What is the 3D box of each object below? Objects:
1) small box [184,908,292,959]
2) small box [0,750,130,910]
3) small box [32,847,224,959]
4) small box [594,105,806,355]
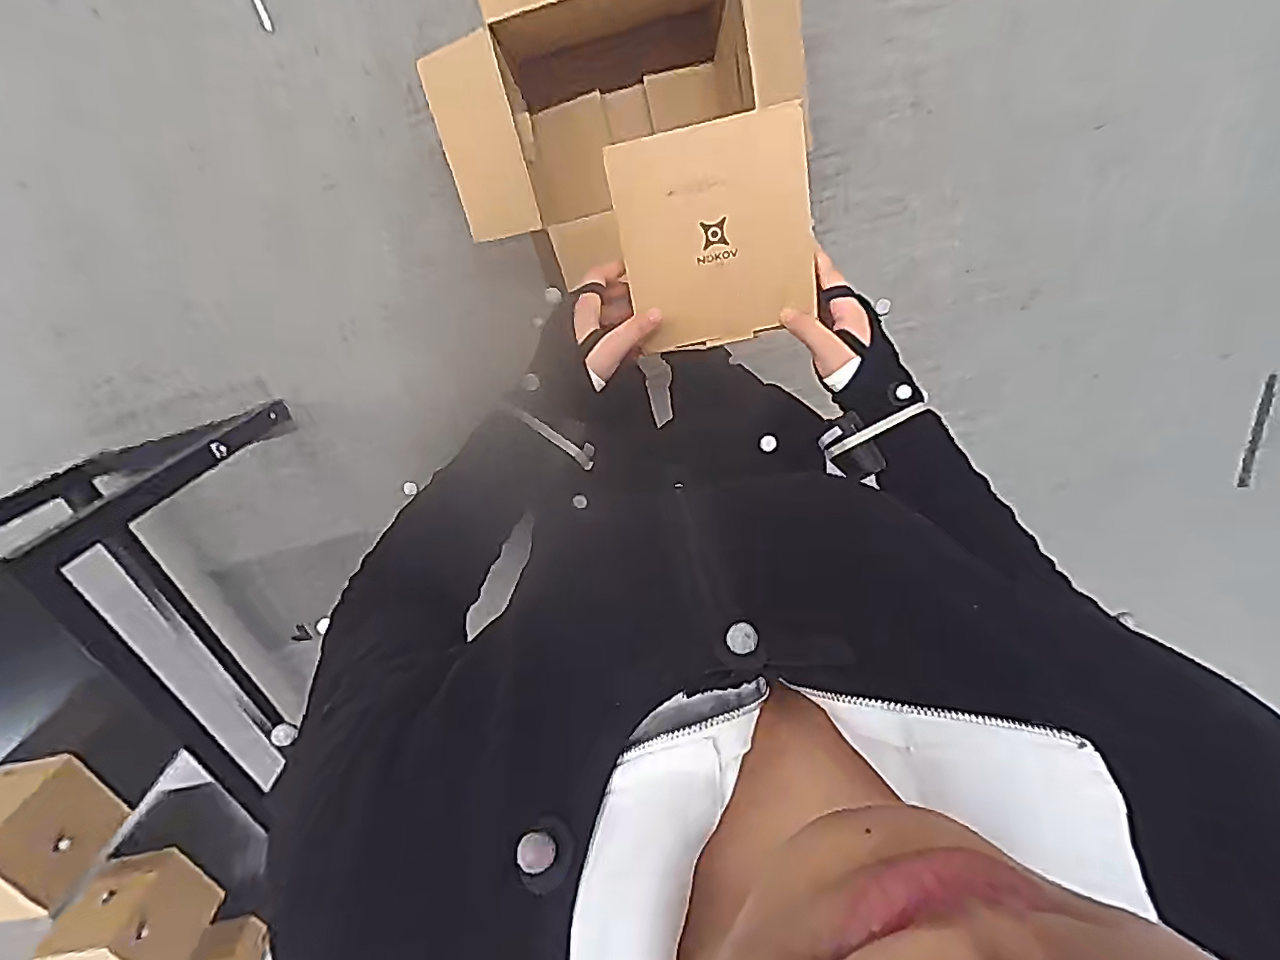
[{"bbox_3d":[-0.916,1.079,1.180,0.179,0.176,0.168,-15,117,5],"label":"small box"},{"bbox_3d":[-1.055,0.599,0.927,0.168,0.176,0.179,-12,118,4],"label":"small box"},{"bbox_3d":[-0.983,0.851,1.058,0.168,0.176,0.179,-13,117,6],"label":"small box"},{"bbox_3d":[0.060,-0.242,0.549,0.168,0.176,0.179,-11,111,6],"label":"small box"}]
